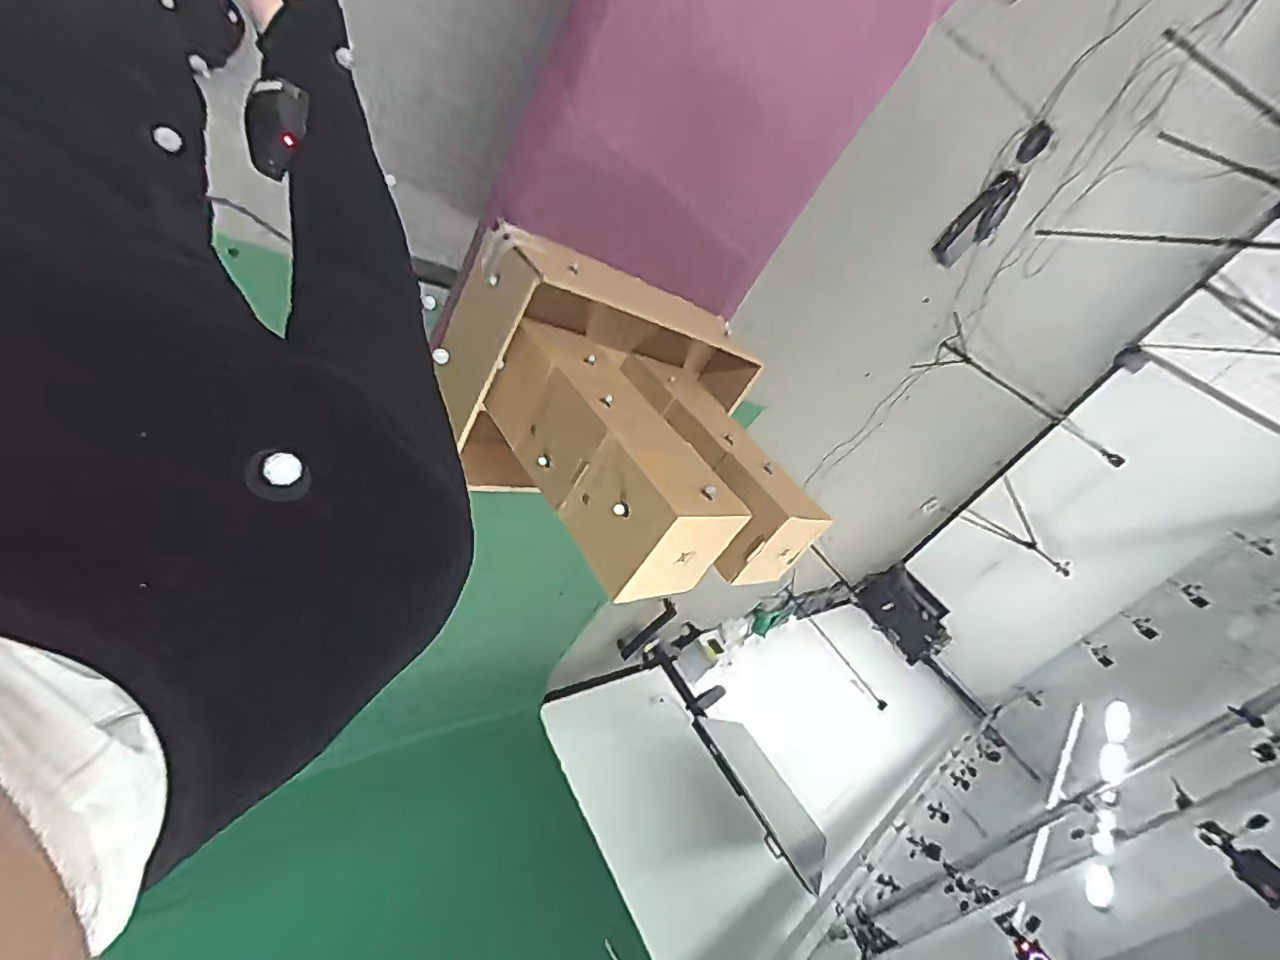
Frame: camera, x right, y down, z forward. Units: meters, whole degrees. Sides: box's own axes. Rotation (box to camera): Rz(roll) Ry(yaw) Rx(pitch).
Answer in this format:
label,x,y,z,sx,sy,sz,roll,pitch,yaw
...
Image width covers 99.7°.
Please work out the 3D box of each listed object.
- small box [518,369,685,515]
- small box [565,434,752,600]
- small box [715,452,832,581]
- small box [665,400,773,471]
label,x,y,z,sx,sy,sz,roll,pitch,yaw
small box,-0.068,-0.059,0.874,0.179,0.176,0.168,3,129,-49
small box,0.020,0.048,0.791,0.179,0.176,0.168,2,129,-48
small box,0.209,0.066,0.996,0.179,0.176,0.168,8,126,-47
small box,0.124,-0.040,1.087,0.179,0.176,0.168,7,127,-48
